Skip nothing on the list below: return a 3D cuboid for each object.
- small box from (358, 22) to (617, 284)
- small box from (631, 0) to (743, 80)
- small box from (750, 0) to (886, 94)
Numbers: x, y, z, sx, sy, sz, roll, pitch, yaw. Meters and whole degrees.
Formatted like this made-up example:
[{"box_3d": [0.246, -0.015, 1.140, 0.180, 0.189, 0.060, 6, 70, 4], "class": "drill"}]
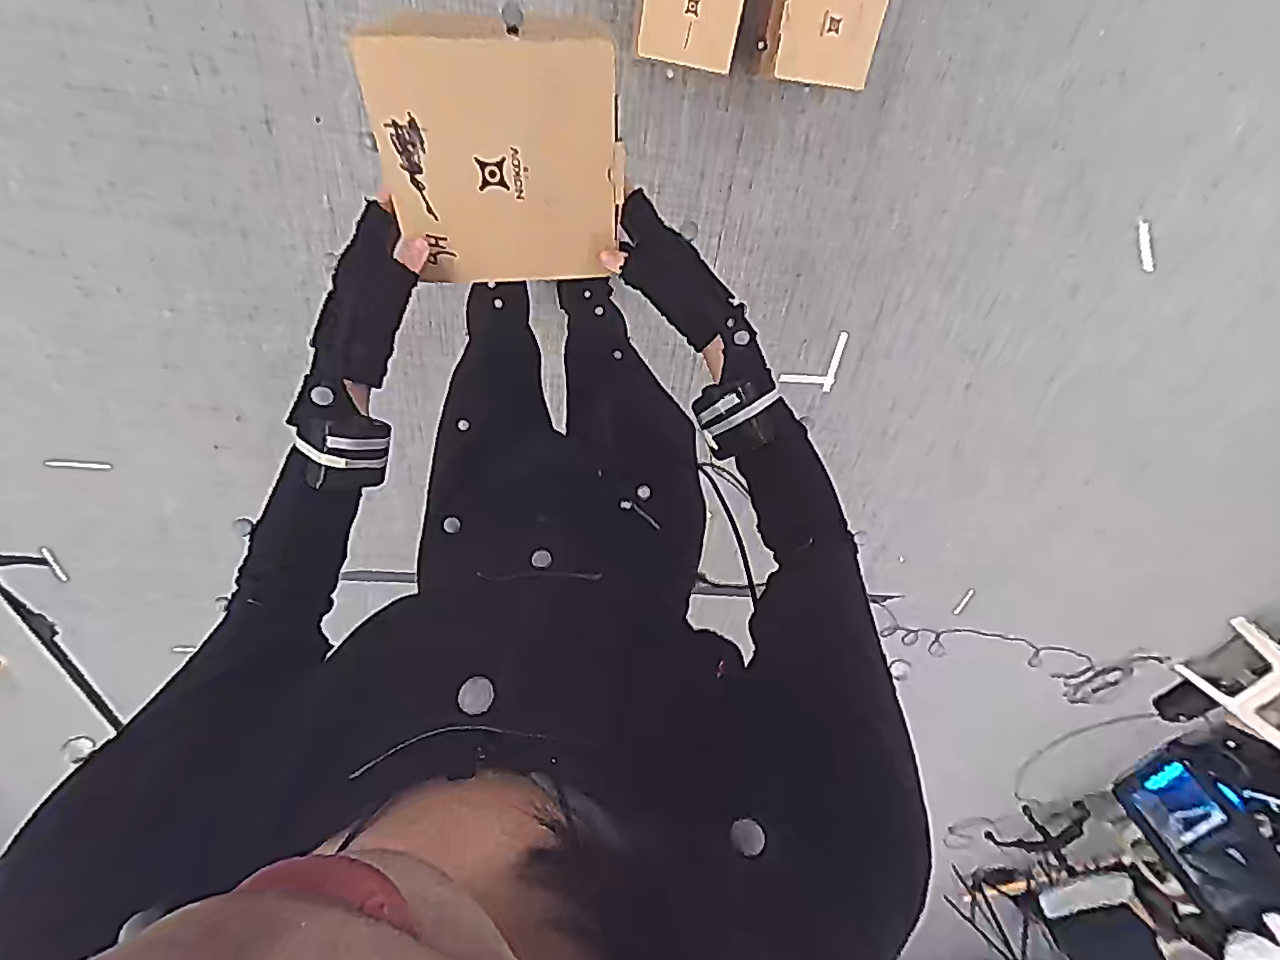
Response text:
[{"box_3d": [-0.117, -0.290, 0.477, 0.179, 0.176, 0.168, -5, 134, -7], "class": "small box"}, {"box_3d": [0.079, -0.829, 0.952, 0.168, 0.176, 0.179, 5, 127, -9], "class": "small box"}, {"box_3d": [0.315, -0.818, 0.987, 0.179, 0.176, 0.168, 2, 128, -8], "class": "small box"}]
